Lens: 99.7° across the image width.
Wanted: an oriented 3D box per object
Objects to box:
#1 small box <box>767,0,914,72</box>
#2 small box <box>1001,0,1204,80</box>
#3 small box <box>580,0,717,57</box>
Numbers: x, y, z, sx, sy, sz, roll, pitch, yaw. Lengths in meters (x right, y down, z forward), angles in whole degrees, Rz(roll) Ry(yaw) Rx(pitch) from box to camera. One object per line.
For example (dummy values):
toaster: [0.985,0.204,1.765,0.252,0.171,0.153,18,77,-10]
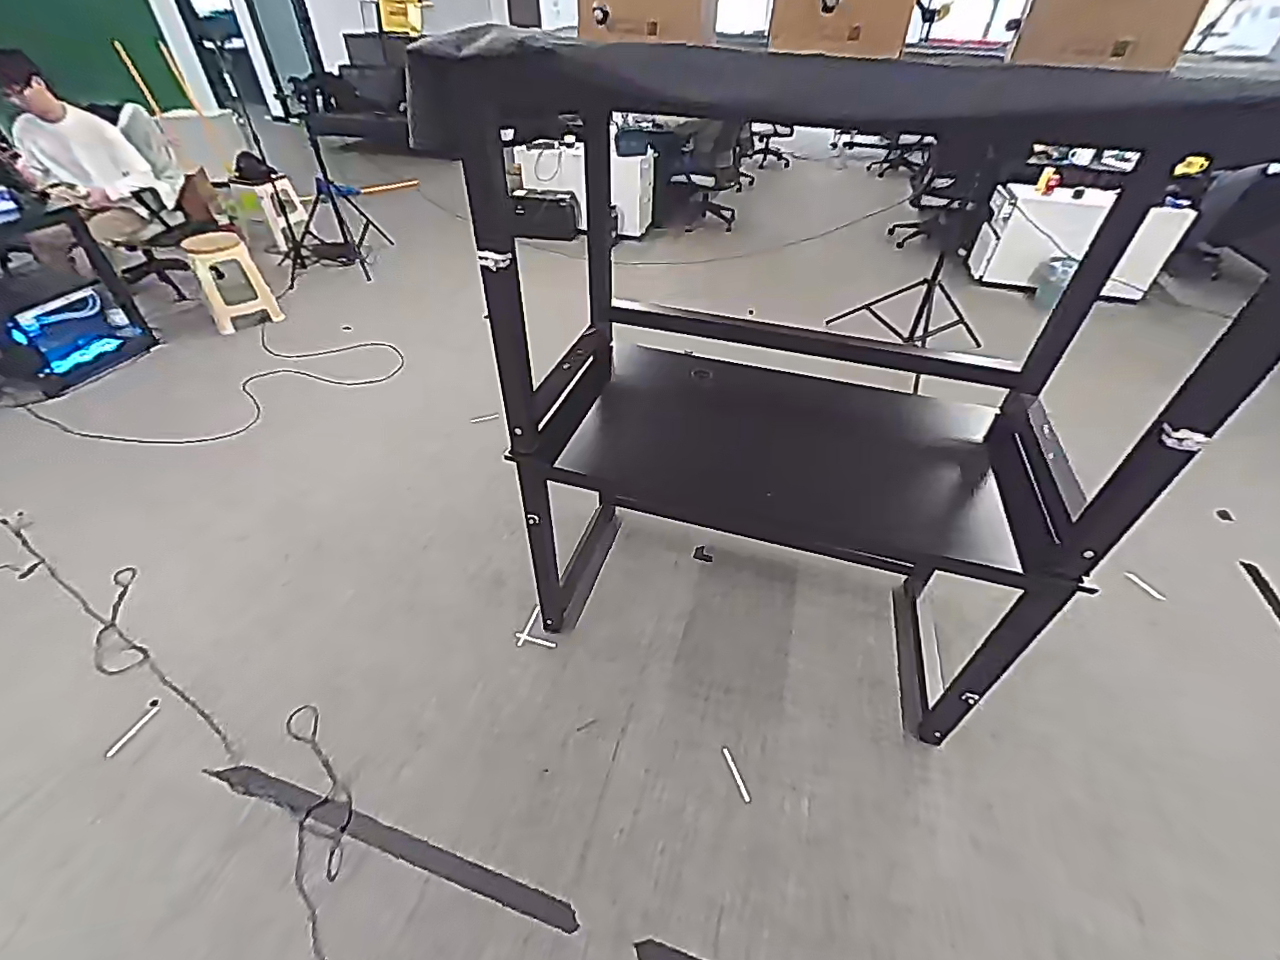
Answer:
small box: [0.265,-0.639,0.694,0.168,0.176,0.179,12,41,11]
small box: [0.552,-0.581,0.635,0.168,0.176,0.179,18,43,18]
small box: [0.018,-0.688,0.737,0.168,0.176,0.179,11,40,9]
